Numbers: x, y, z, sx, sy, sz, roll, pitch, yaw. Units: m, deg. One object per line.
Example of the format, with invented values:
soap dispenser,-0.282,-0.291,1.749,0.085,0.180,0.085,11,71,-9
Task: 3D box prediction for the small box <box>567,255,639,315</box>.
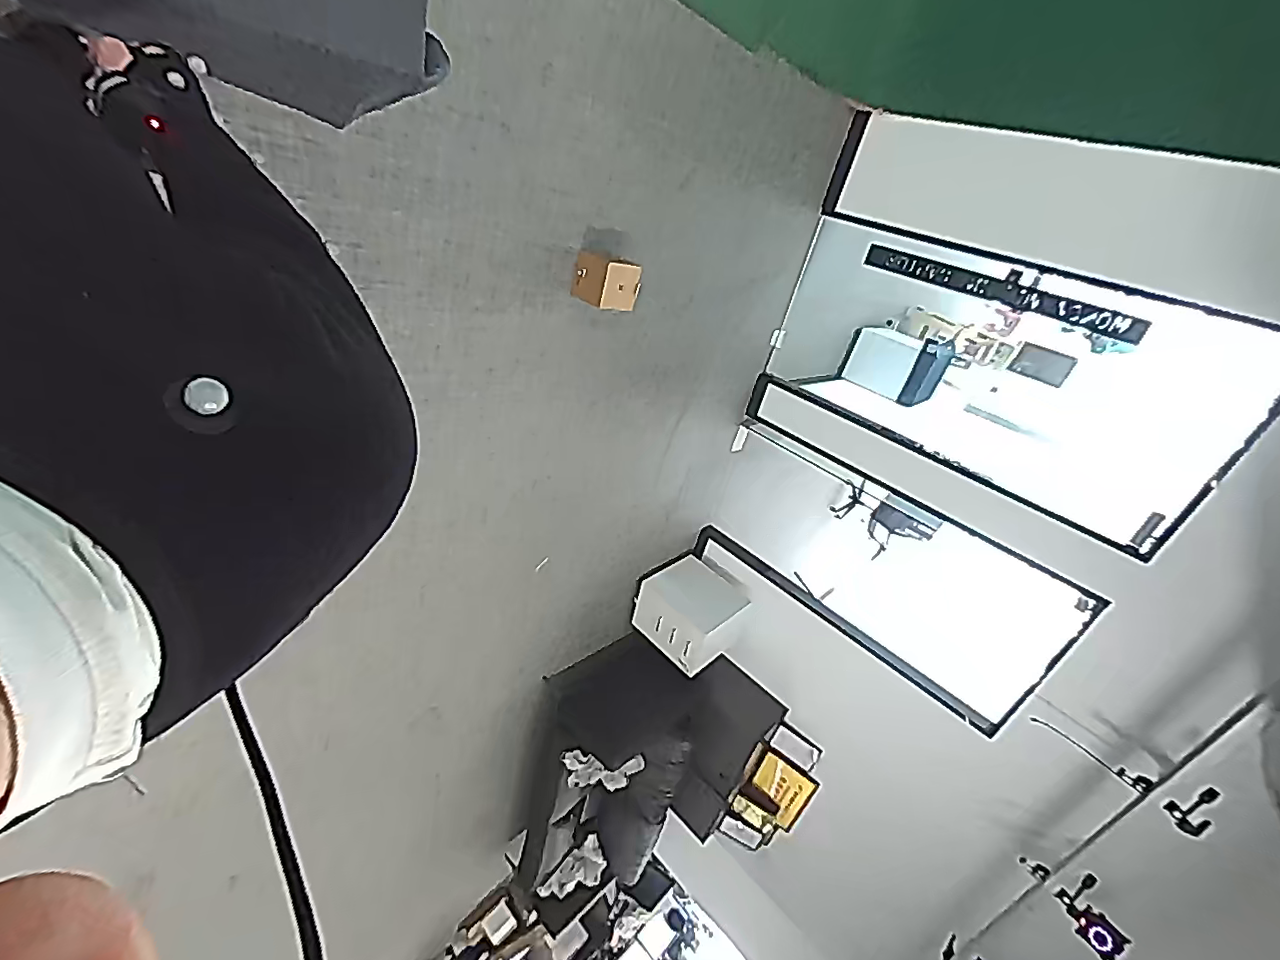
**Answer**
small box,-0.138,-0.717,1.988,0.179,0.176,0.168,-13,127,-48
